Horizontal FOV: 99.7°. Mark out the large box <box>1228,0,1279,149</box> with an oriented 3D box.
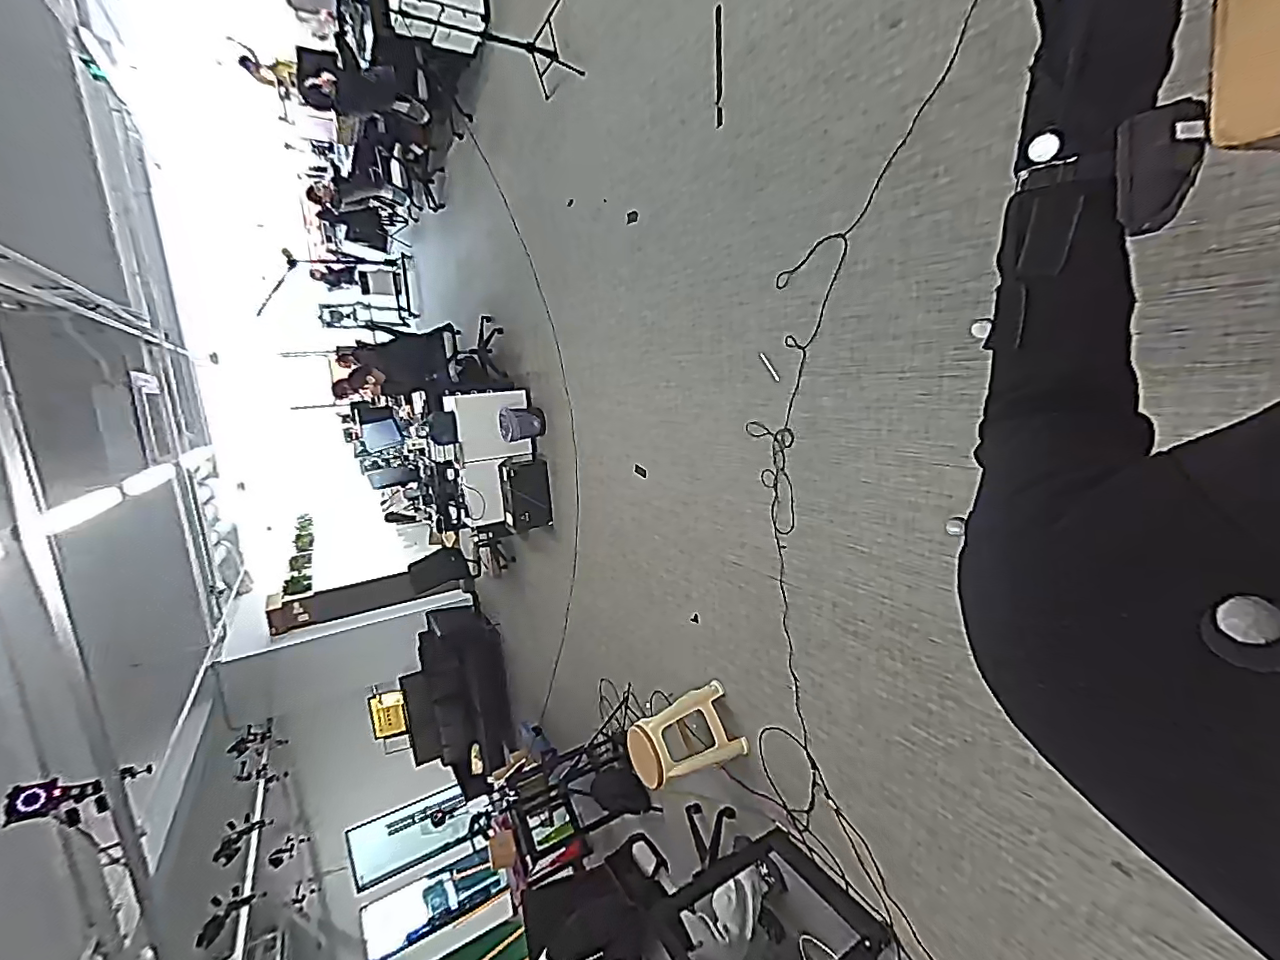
[{"bbox_3d":[0.524,-0.357,0.180,0.408,0.320,0.320,9,116,56],"label":"large box"}]
